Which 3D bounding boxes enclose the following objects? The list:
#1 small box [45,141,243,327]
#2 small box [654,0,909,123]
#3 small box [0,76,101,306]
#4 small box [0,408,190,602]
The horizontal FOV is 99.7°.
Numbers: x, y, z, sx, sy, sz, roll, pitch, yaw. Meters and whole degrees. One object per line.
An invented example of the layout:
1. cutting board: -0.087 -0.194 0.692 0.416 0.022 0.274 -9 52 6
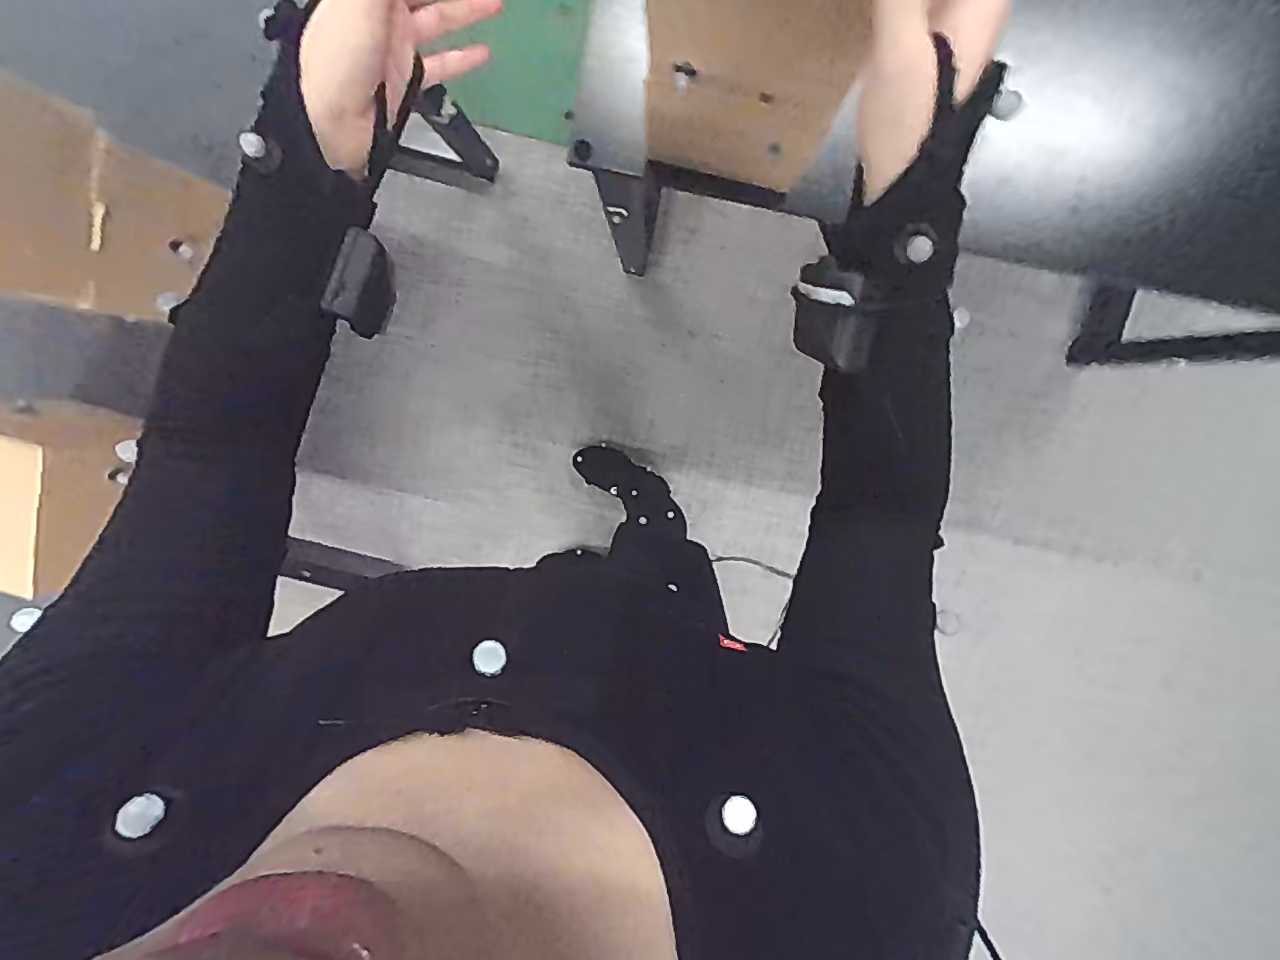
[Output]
1. small box: -0.585 -0.273 0.595 0.179 0.176 0.168 16 101 0
2. small box: 0.109 -0.393 0.378 0.168 0.176 0.179 16 100 1
3. small box: -0.593 -0.255 0.433 0.168 0.176 0.179 15 101 1
4. small box: -0.696 0.016 0.653 0.168 0.176 0.179 16 101 1
